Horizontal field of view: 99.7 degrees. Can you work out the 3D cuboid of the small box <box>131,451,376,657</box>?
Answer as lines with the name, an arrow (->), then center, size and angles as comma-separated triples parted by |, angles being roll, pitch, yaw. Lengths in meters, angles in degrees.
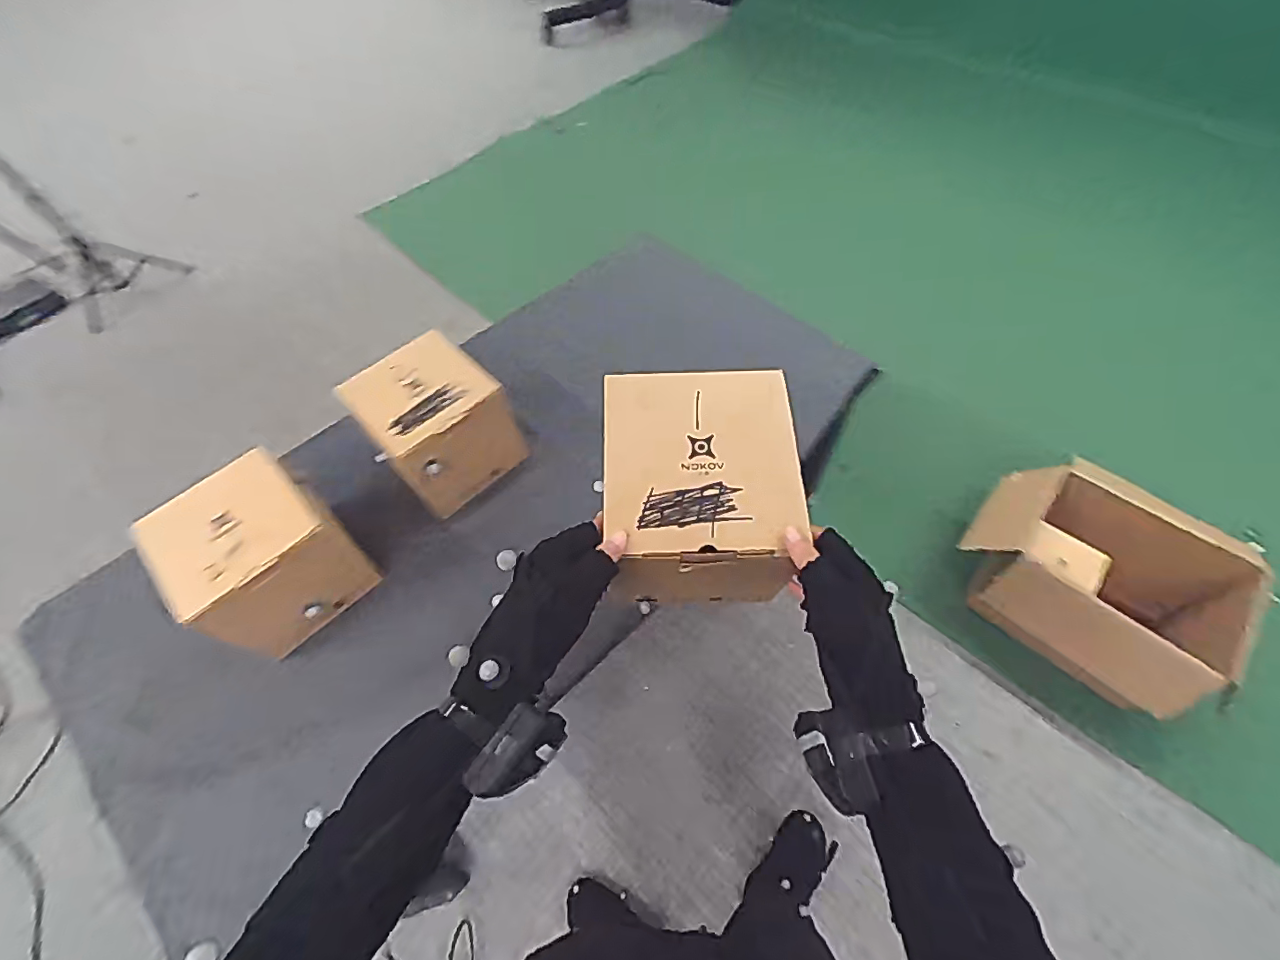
small box -> -0.490, 0.102, 0.709 | 0.179, 0.176, 0.168 | 39, 67, 23

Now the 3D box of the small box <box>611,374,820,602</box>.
small box -> 0.062, 0.017, 0.528 | 0.168, 0.176, 0.179 | 0, 63, 0
